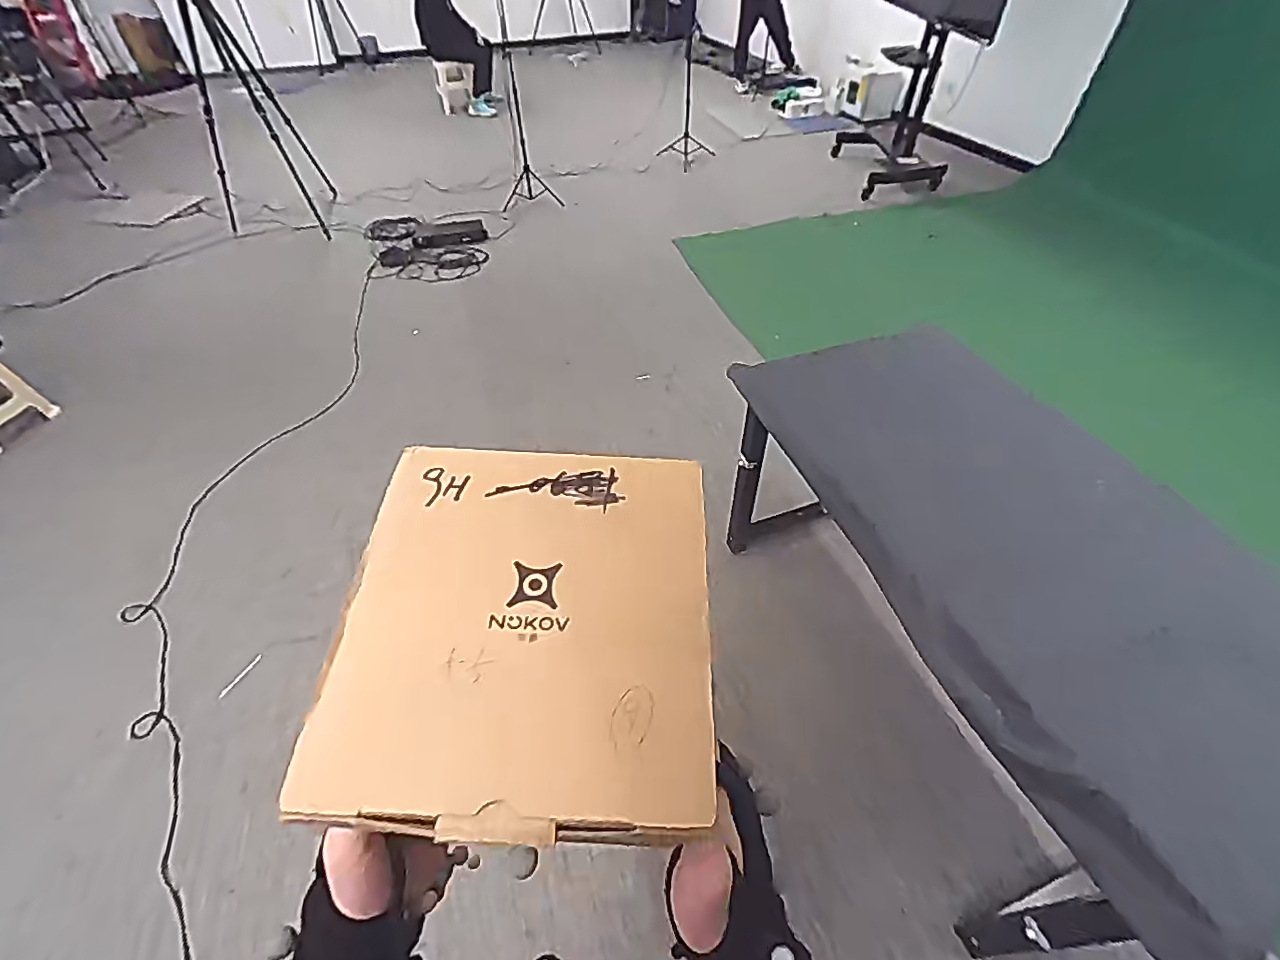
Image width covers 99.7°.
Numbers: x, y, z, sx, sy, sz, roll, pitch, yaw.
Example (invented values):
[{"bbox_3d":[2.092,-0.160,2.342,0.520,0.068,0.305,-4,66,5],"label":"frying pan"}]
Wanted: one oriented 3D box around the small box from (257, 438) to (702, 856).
[{"bbox_3d":[-0.058,0.099,0.306,0.168,0.176,0.179,4,57,-2],"label":"small box"}]
